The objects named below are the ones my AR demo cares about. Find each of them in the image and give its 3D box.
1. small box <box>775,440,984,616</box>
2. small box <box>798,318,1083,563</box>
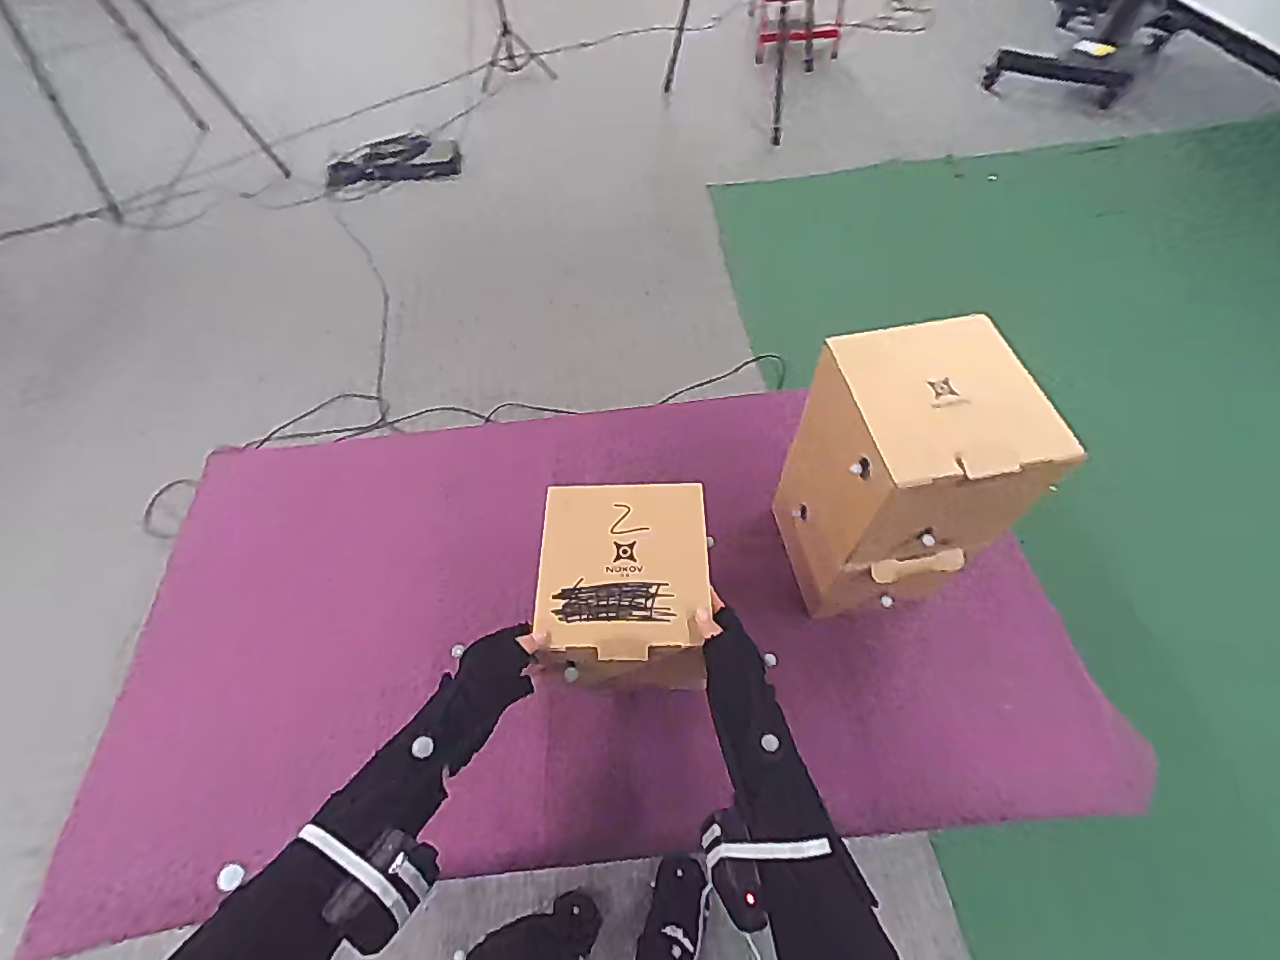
[{"bbox_3d":[0.284,0.054,0.693,0.168,0.176,0.179,-10,58,-2],"label":"small box"},{"bbox_3d":[0.279,-0.035,0.557,0.168,0.176,0.179,-9,59,-3],"label":"small box"}]
